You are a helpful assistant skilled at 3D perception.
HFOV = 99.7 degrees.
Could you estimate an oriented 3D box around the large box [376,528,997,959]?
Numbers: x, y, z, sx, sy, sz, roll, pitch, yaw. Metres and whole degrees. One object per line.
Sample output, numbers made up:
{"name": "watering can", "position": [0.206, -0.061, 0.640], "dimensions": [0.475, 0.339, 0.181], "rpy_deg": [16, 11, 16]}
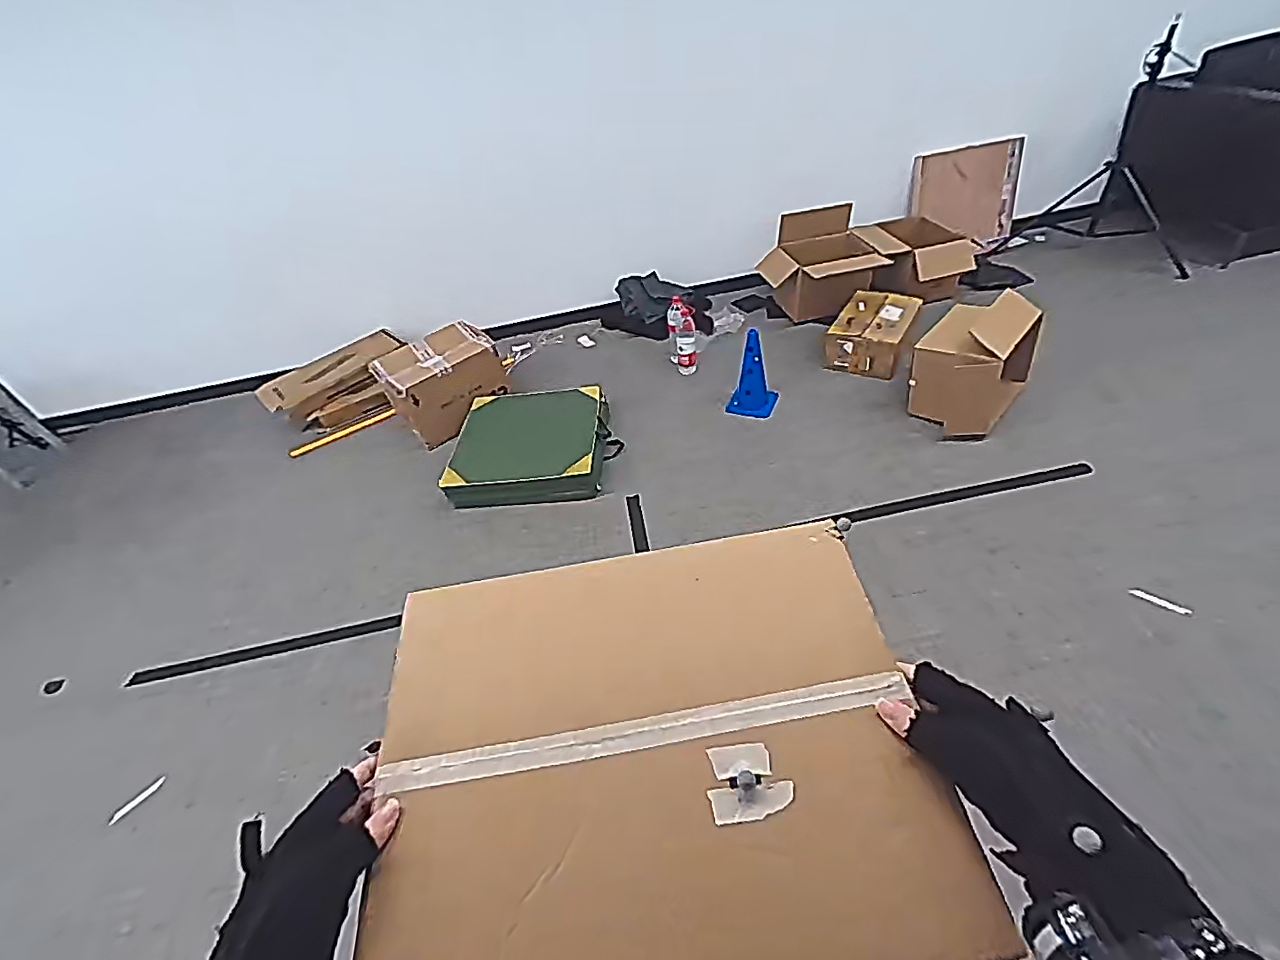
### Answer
{"name": "large box", "position": [0.019, 0.291, 0.537], "dimensions": [0.408, 0.320, 0.320], "rpy_deg": [-10, 51, -1]}
